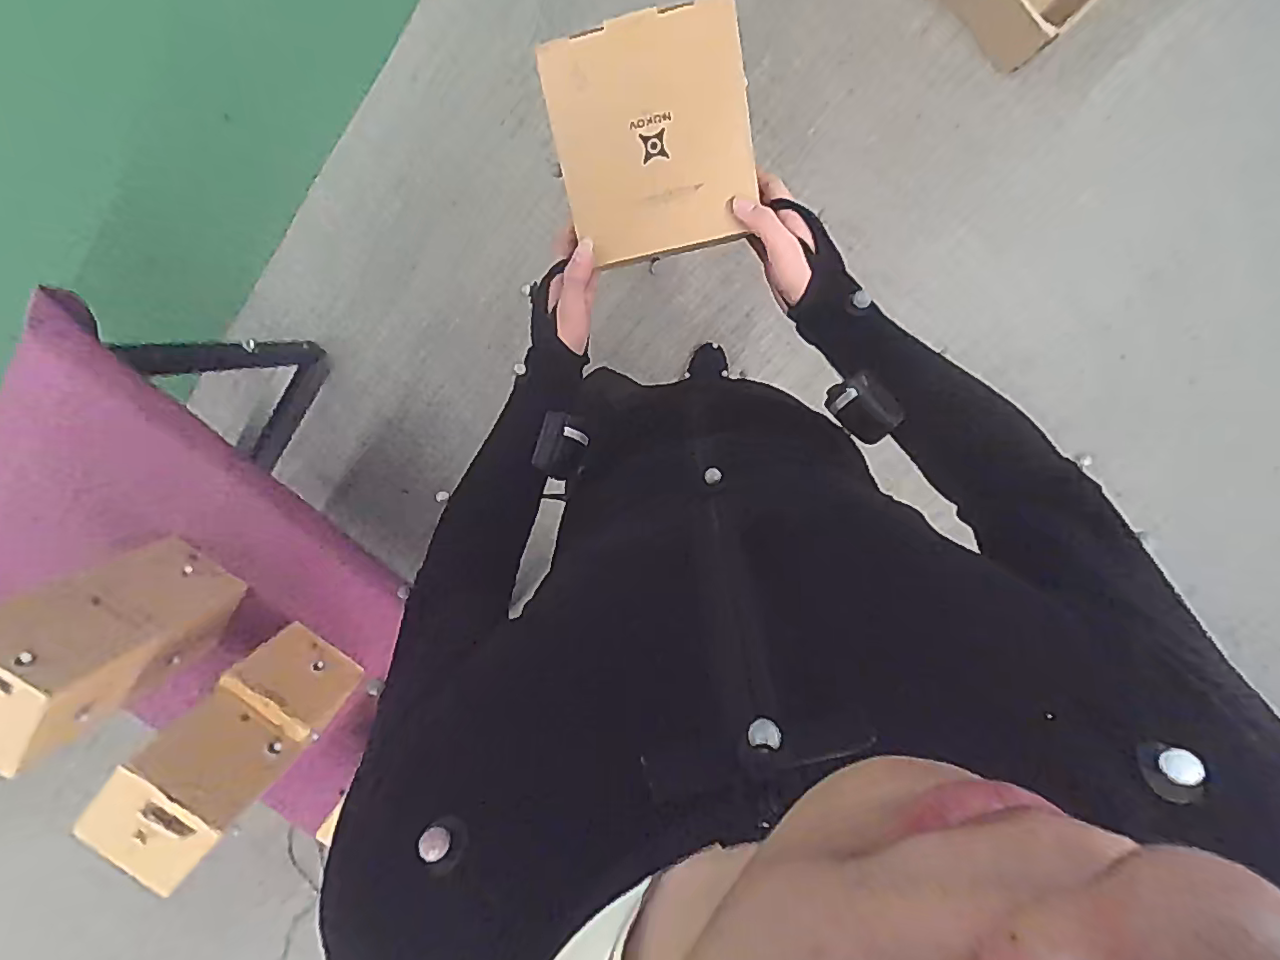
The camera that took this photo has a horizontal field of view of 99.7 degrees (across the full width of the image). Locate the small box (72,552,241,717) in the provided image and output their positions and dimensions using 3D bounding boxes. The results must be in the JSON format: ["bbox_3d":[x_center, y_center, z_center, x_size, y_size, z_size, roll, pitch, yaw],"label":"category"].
[{"bbox_3d":[-0.851,0.259,0.939,0.168,0.176,0.179,36,104,-5],"label":"small box"}]

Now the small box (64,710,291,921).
[{"bbox_3d":[-0.674,0.490,0.813,0.168,0.176,0.179,42,104,-5],"label":"small box"}]

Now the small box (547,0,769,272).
[{"bbox_3d":[0.021,-0.310,0.527,0.168,0.176,0.179,-10,109,6],"label":"small box"}]

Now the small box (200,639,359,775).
[{"bbox_3d":[-0.645,0.424,0.964,0.168,0.176,0.179,38,103,-4],"label":"small box"}]

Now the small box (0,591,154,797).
[{"bbox_3d":[-0.867,0.298,0.781,0.168,0.176,0.179,35,105,-5],"label":"small box"}]
